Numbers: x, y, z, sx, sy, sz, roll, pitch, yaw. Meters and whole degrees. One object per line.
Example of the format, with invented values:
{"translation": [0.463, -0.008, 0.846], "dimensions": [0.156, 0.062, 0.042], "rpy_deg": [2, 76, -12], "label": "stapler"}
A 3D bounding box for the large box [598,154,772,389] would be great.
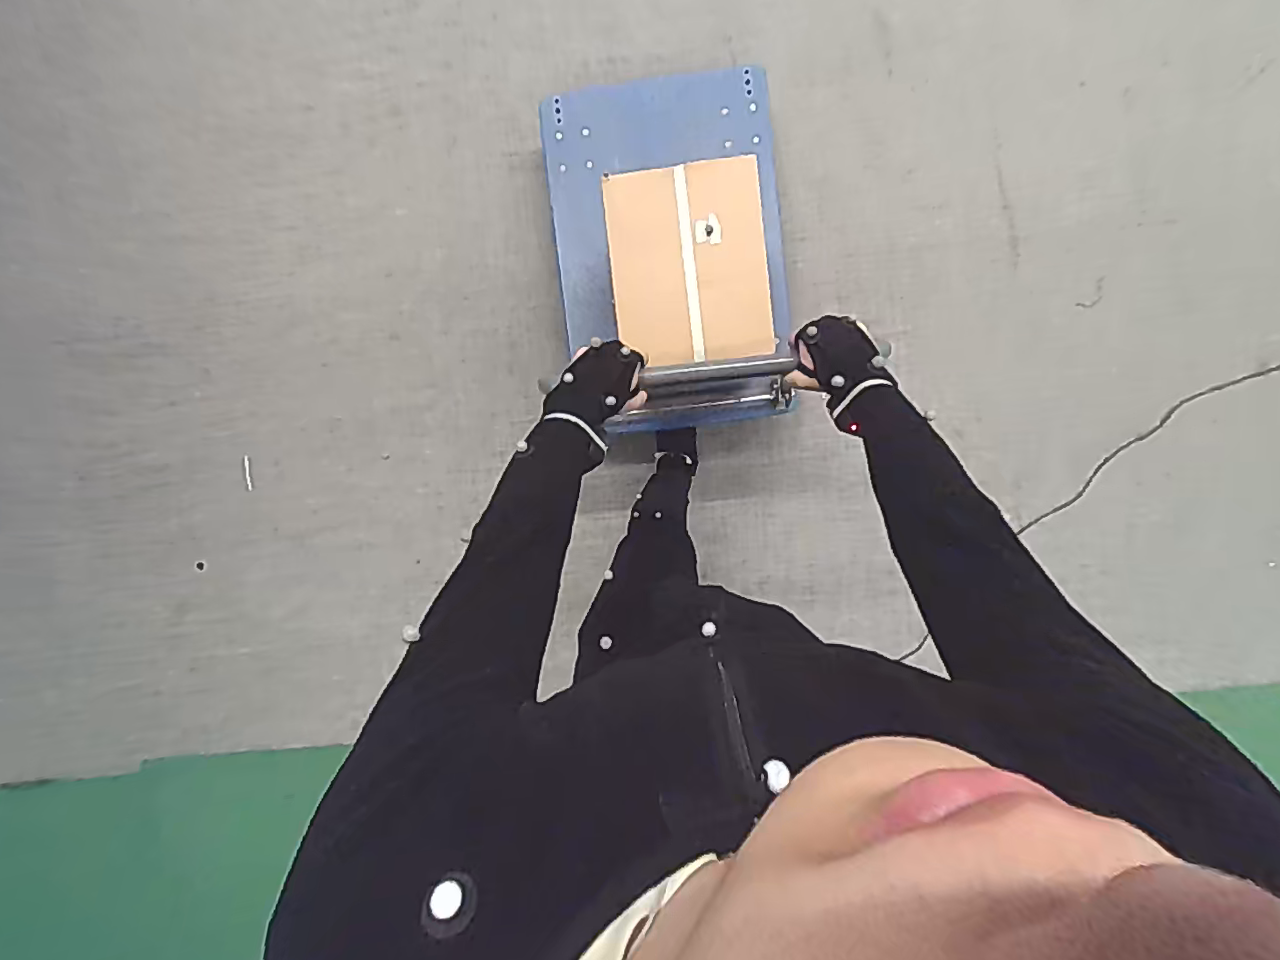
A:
{"translation": [0.100, -0.444, 1.241], "dimensions": [0.320, 0.320, 0.408], "rpy_deg": [-6, 93, 3], "label": "large box"}
